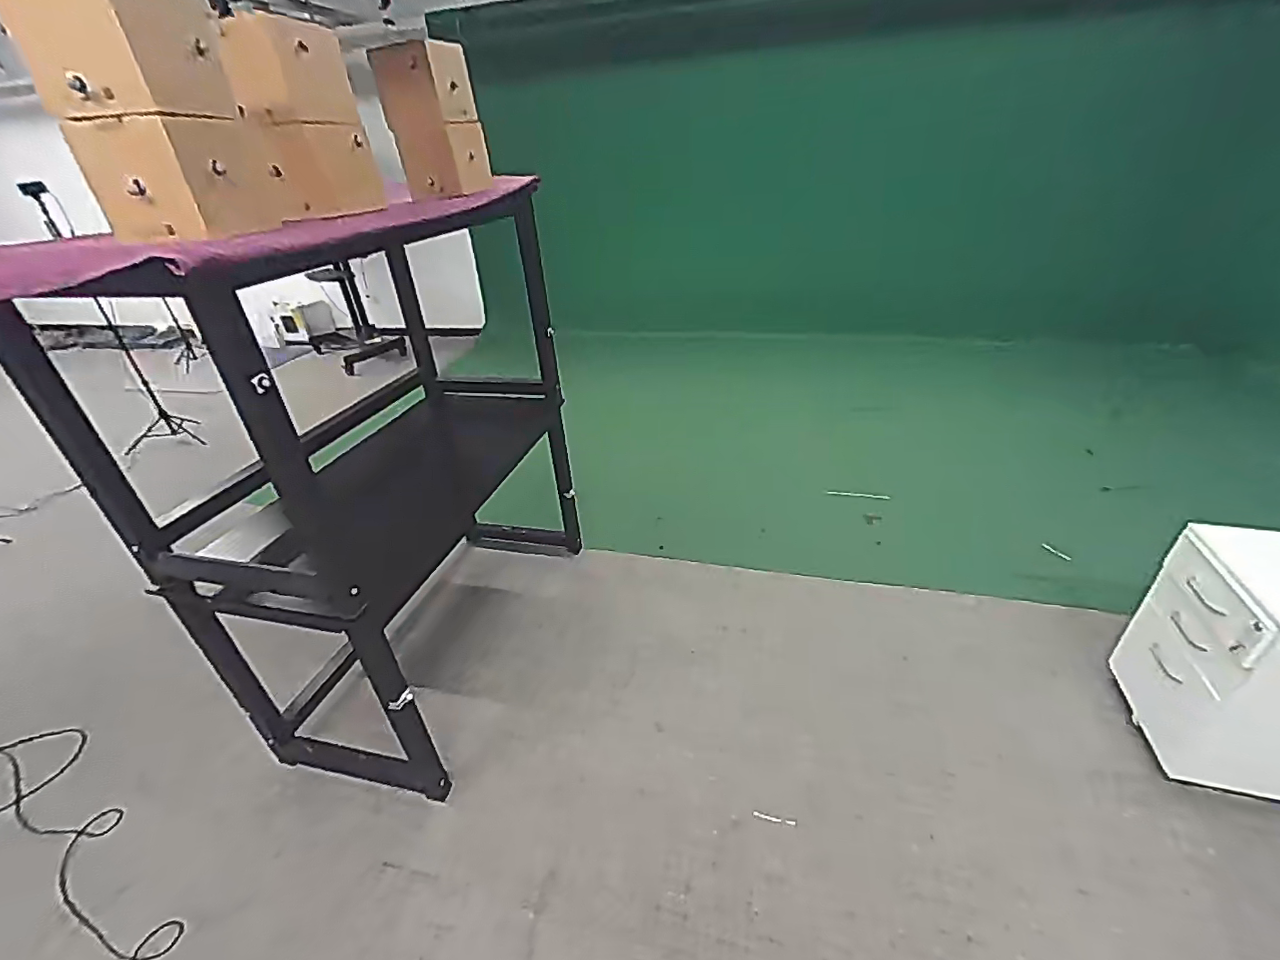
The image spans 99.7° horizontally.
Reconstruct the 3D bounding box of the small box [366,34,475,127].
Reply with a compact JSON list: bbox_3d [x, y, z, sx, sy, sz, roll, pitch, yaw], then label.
[{"bbox_3d":[-0.549,-1.016,1.383,0.179,0.176,0.168,4,34,17],"label":"small box"}]

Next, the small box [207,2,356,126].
[{"bbox_3d":[-0.698,-0.796,1.059,0.168,0.176,0.179,4,31,16],"label":"small box"}]

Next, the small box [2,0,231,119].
[{"bbox_3d":[-0.743,-0.623,0.782,0.168,0.176,0.179,-2,32,4],"label":"small box"}]

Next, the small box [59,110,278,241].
[{"bbox_3d":[-0.732,-0.484,0.868,0.168,0.176,0.179,0,32,6],"label":"small box"}]

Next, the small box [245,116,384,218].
[{"bbox_3d":[-0.679,-0.656,1.142,0.168,0.176,0.179,4,32,16],"label":"small box"}]
